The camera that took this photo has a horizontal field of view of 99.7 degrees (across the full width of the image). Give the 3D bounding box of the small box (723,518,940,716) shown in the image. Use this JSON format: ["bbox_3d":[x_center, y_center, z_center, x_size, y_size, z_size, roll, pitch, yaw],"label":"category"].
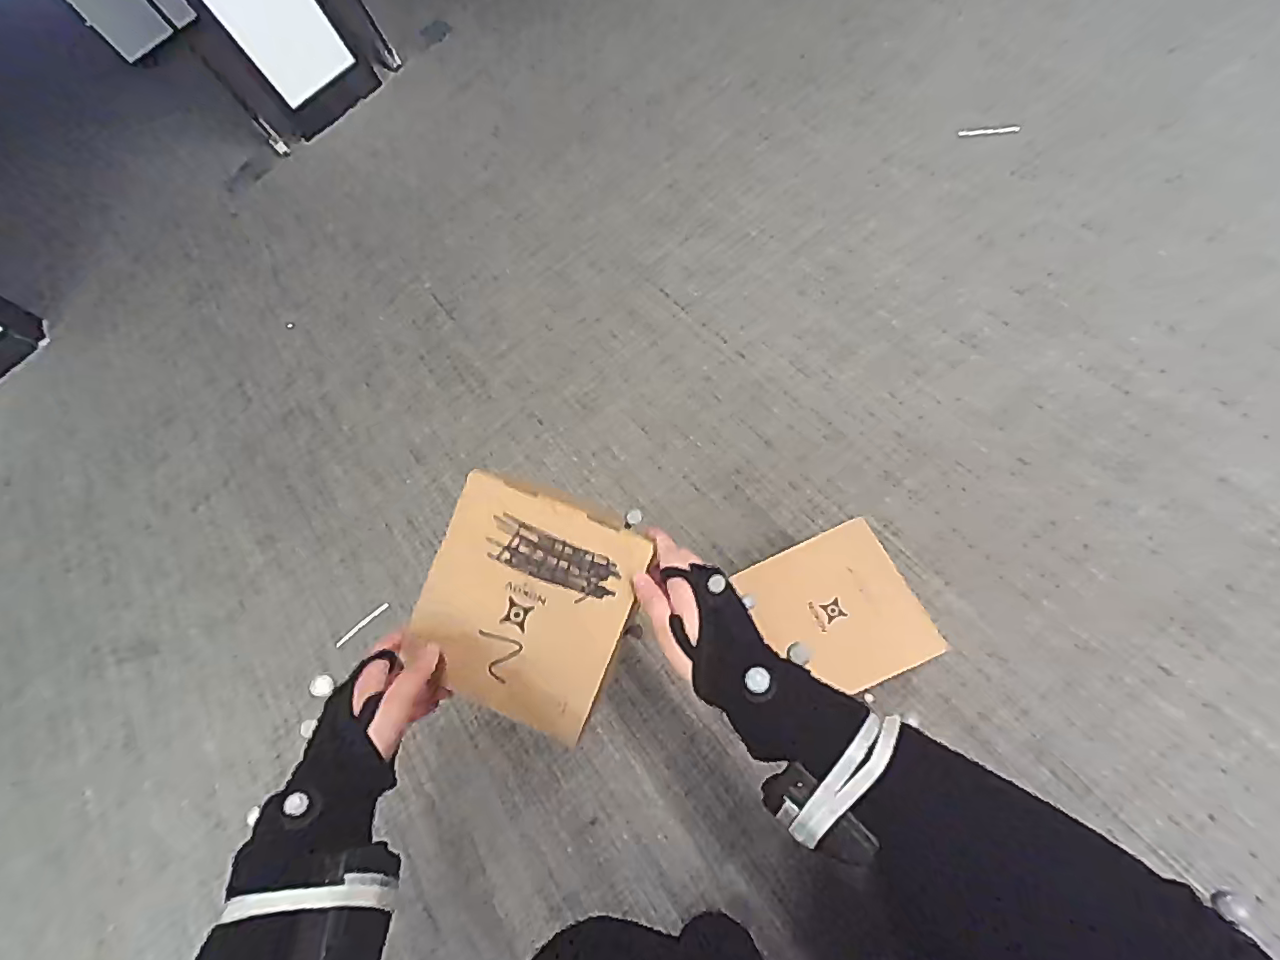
[{"bbox_3d":[0.222,0.176,0.660,0.179,0.176,0.168,-26,63,3],"label":"small box"}]
